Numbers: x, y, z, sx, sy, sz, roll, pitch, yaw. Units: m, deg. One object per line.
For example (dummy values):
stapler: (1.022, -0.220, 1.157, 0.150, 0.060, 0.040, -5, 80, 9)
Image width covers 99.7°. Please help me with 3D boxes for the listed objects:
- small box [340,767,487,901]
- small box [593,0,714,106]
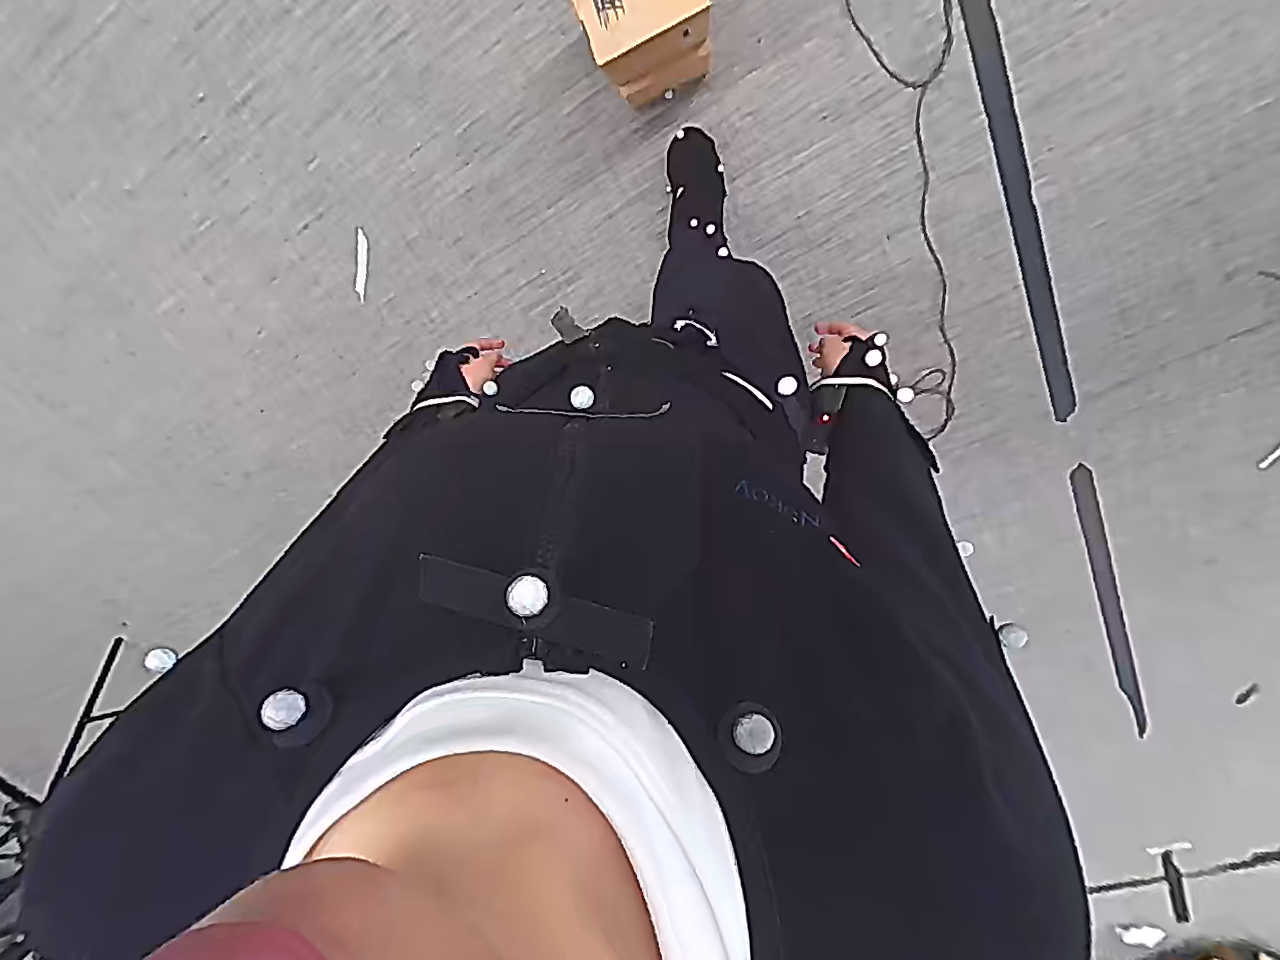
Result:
small box: (-0.416, 0.683, 1.035, 0.179, 0.176, 0.168, -24, 113, 17)
small box: (0.022, -0.794, 0.945, 0.168, 0.176, 0.179, -18, 115, 15)
